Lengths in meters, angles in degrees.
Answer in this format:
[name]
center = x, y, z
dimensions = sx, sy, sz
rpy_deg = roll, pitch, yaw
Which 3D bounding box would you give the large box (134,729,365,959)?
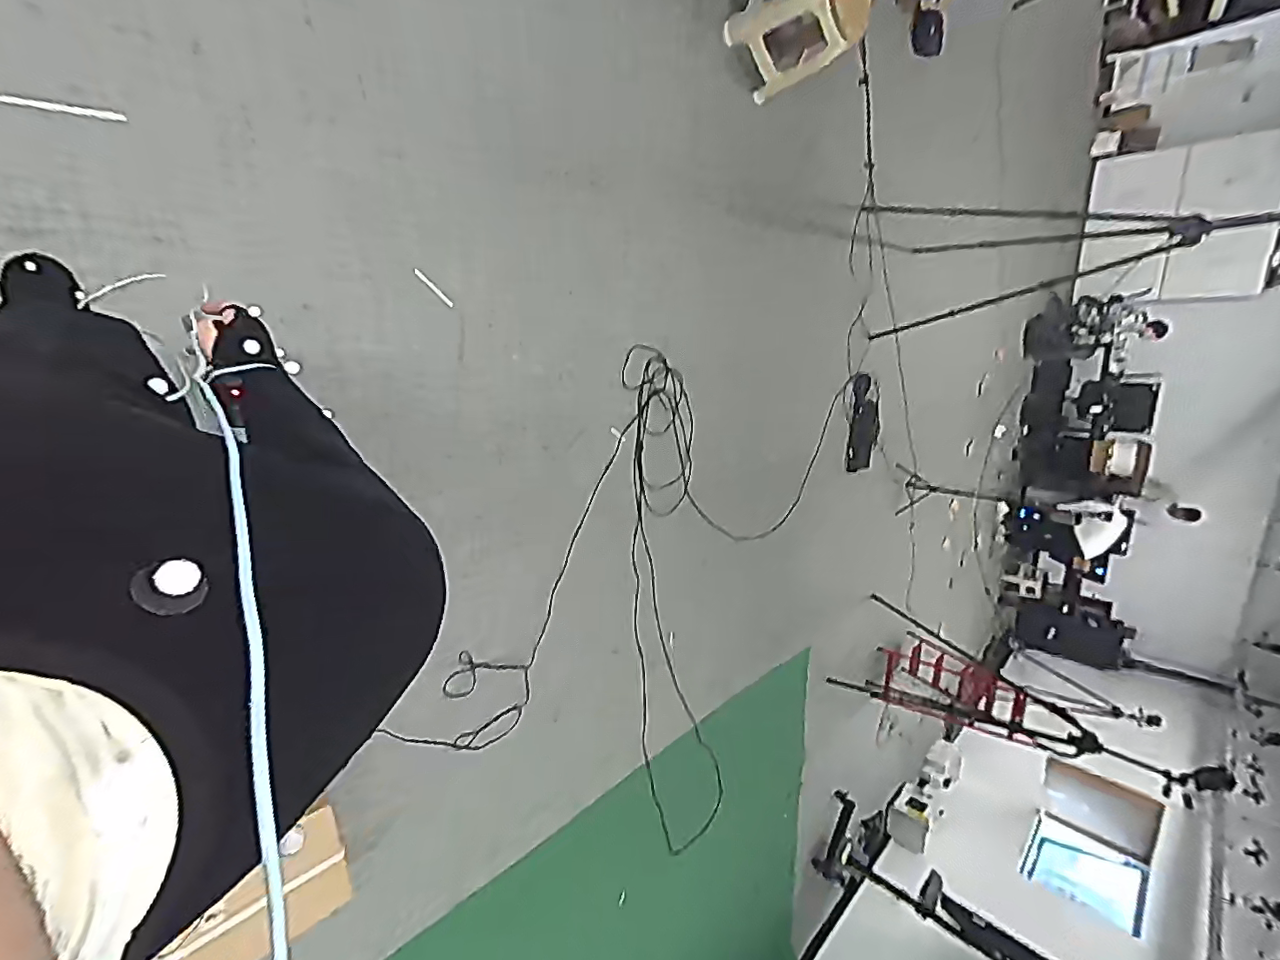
[large box]
center = -0.991, 0.938, 1.391
dimensions = 0.408, 0.320, 0.320
rpy_deg = -17, 110, -40
